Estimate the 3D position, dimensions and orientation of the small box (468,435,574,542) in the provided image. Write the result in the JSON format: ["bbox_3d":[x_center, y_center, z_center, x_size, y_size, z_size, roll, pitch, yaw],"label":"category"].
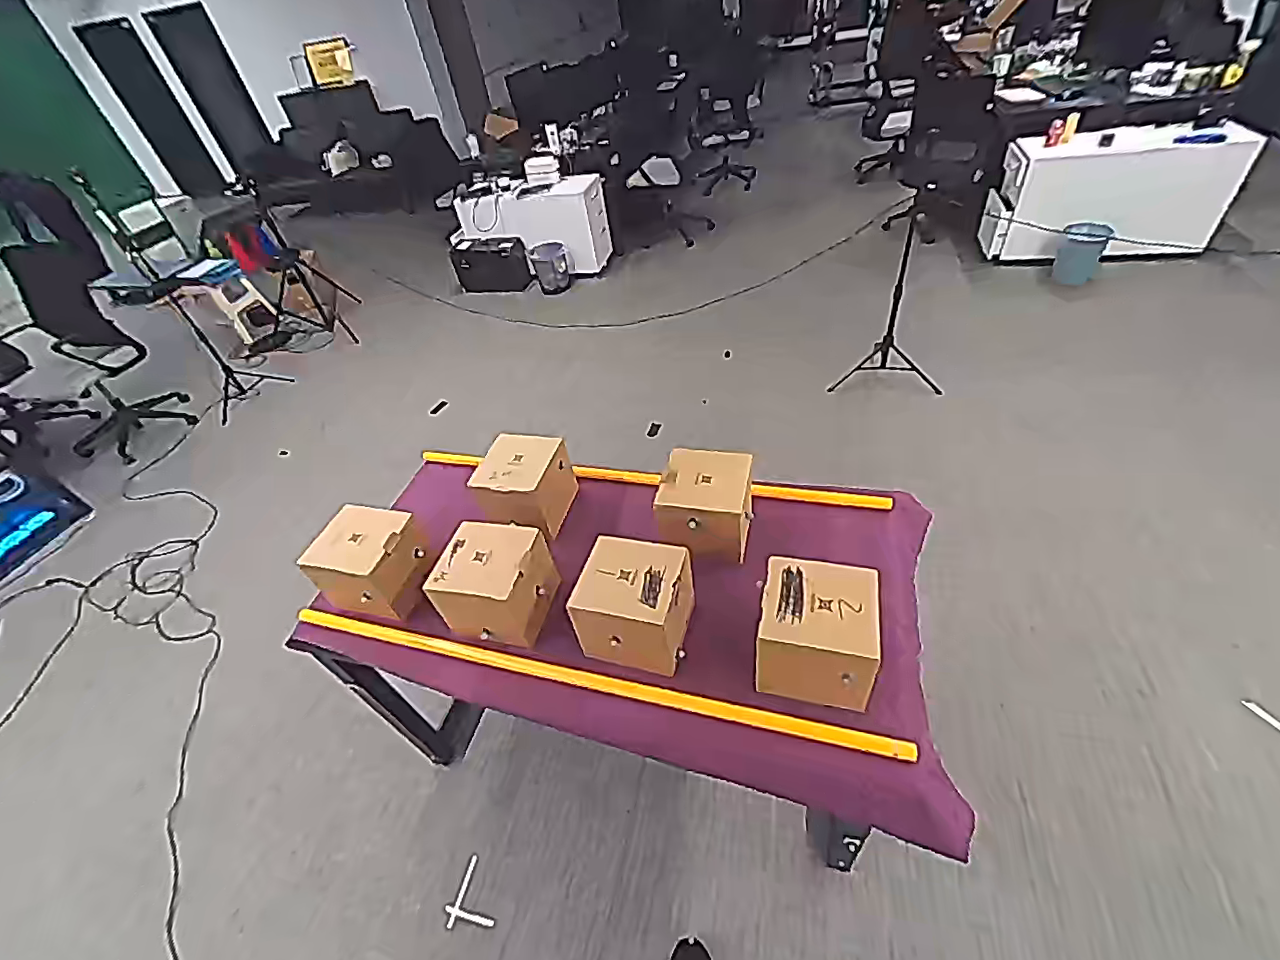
[{"bbox_3d":[-0.266,0.019,1.266,0.168,0.176,0.179,5,47,17],"label":"small box"}]

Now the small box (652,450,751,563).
[{"bbox_3d":[0.138,0.057,1.145,0.179,0.176,0.168,5,46,17],"label":"small box"}]

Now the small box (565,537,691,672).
[{"bbox_3d":[-0.011,0.230,0.993,0.179,0.176,0.168,6,44,19],"label":"small box"}]

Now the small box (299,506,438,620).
[{"bbox_3d":[-0.566,0.179,1.156,0.179,0.176,0.168,6,45,14],"label":"small box"}]

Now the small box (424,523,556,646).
[{"bbox_3d":[-0.284,0.208,1.072,0.179,0.176,0.168,5,45,15],"label":"small box"}]
